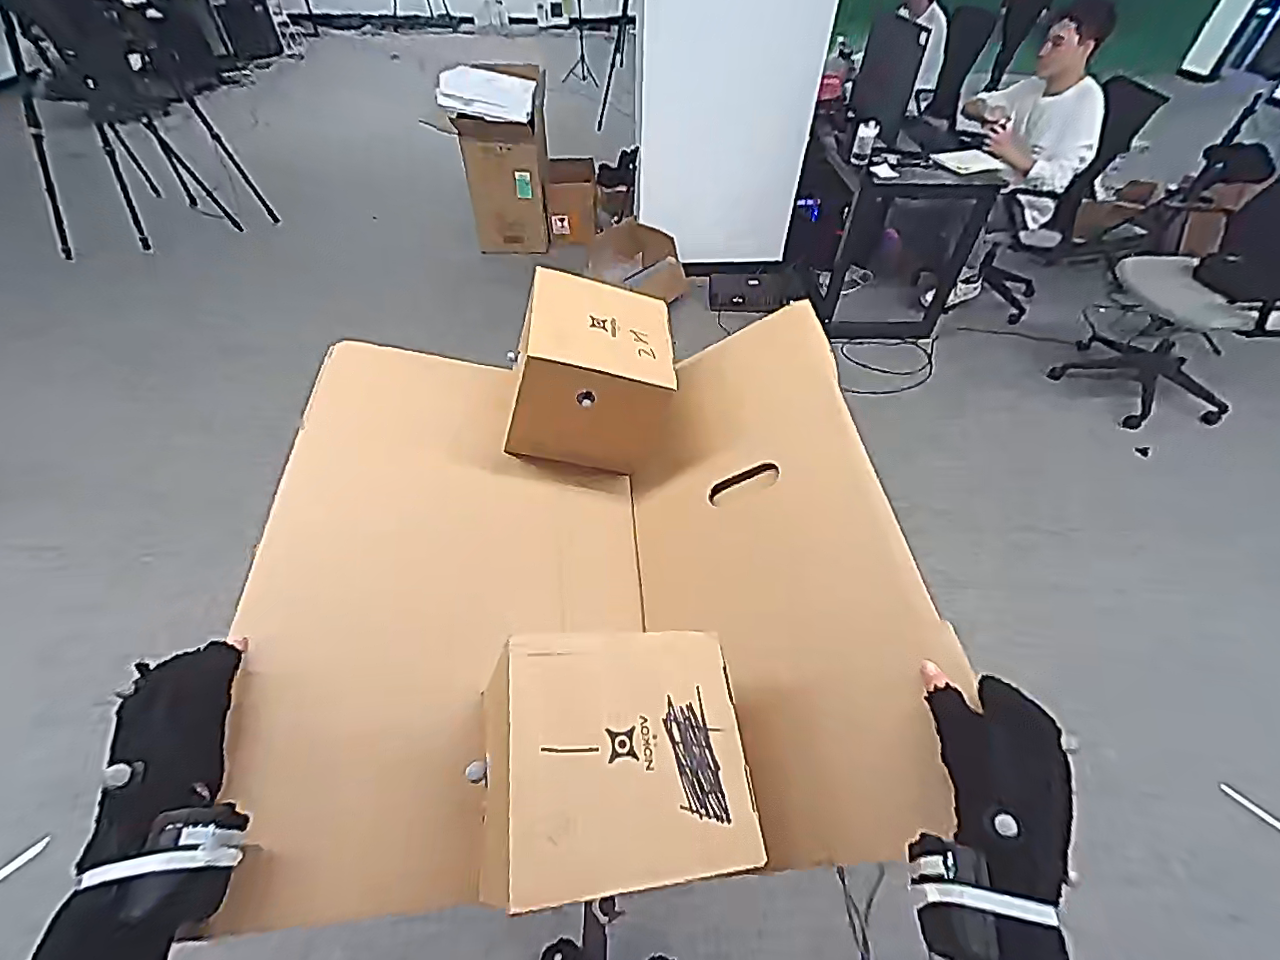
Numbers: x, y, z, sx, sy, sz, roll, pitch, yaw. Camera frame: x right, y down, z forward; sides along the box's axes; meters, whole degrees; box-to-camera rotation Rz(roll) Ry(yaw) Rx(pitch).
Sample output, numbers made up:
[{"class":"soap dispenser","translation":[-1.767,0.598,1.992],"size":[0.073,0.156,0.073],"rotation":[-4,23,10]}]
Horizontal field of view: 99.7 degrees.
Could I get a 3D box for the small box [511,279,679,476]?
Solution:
[{"class":"small box","translation":[-0.064,-0.124,0.706],"size":[0.179,0.176,0.168],"rotation":[12,51,-17]}]
